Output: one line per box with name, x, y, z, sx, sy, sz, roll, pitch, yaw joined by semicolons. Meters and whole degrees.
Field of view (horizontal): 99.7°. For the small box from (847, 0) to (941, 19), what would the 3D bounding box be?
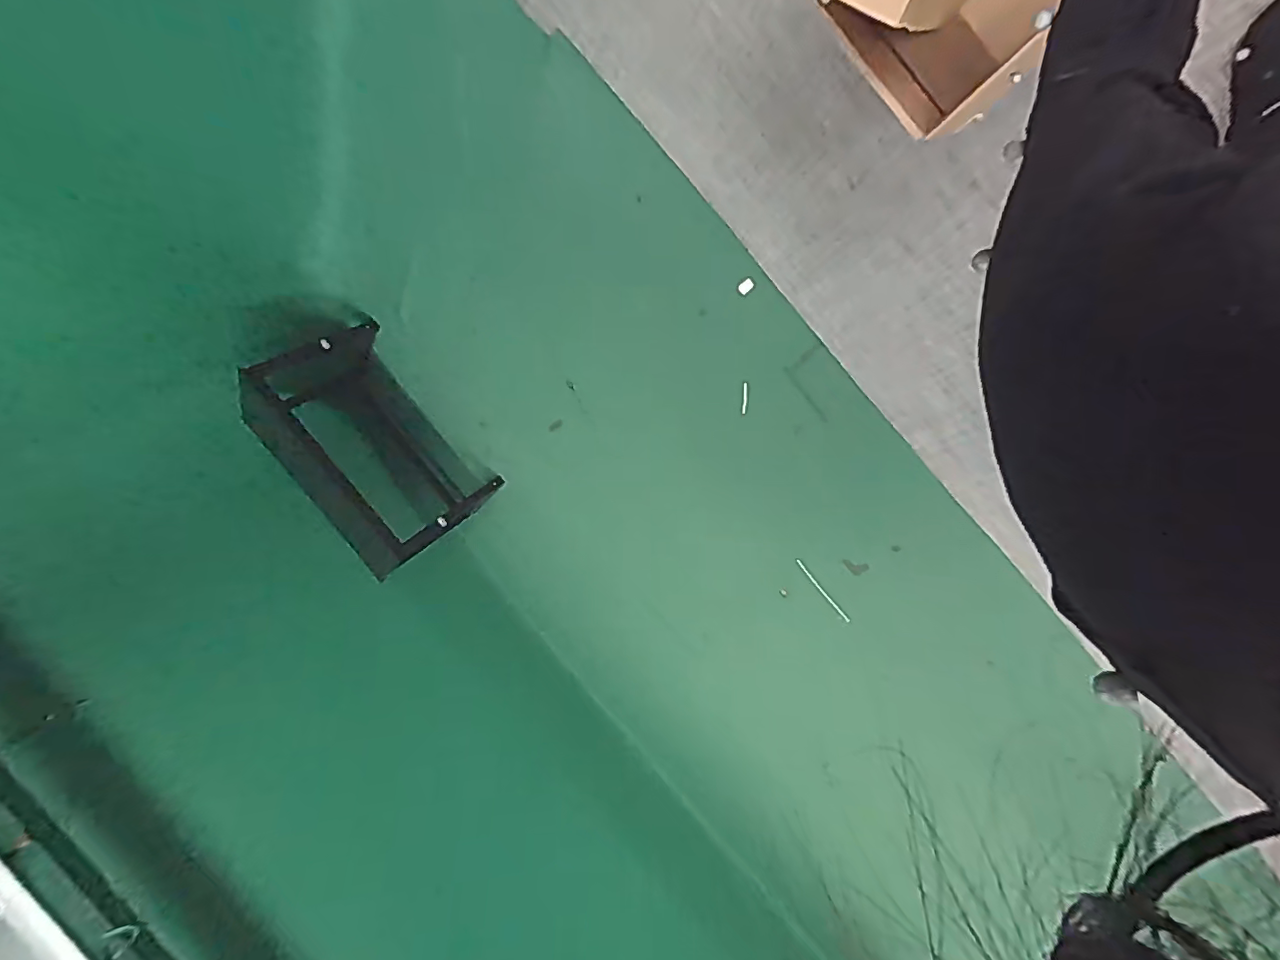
small box;0.258;-0.611;0.555;0.179;0.176;0.168;39;142;11
